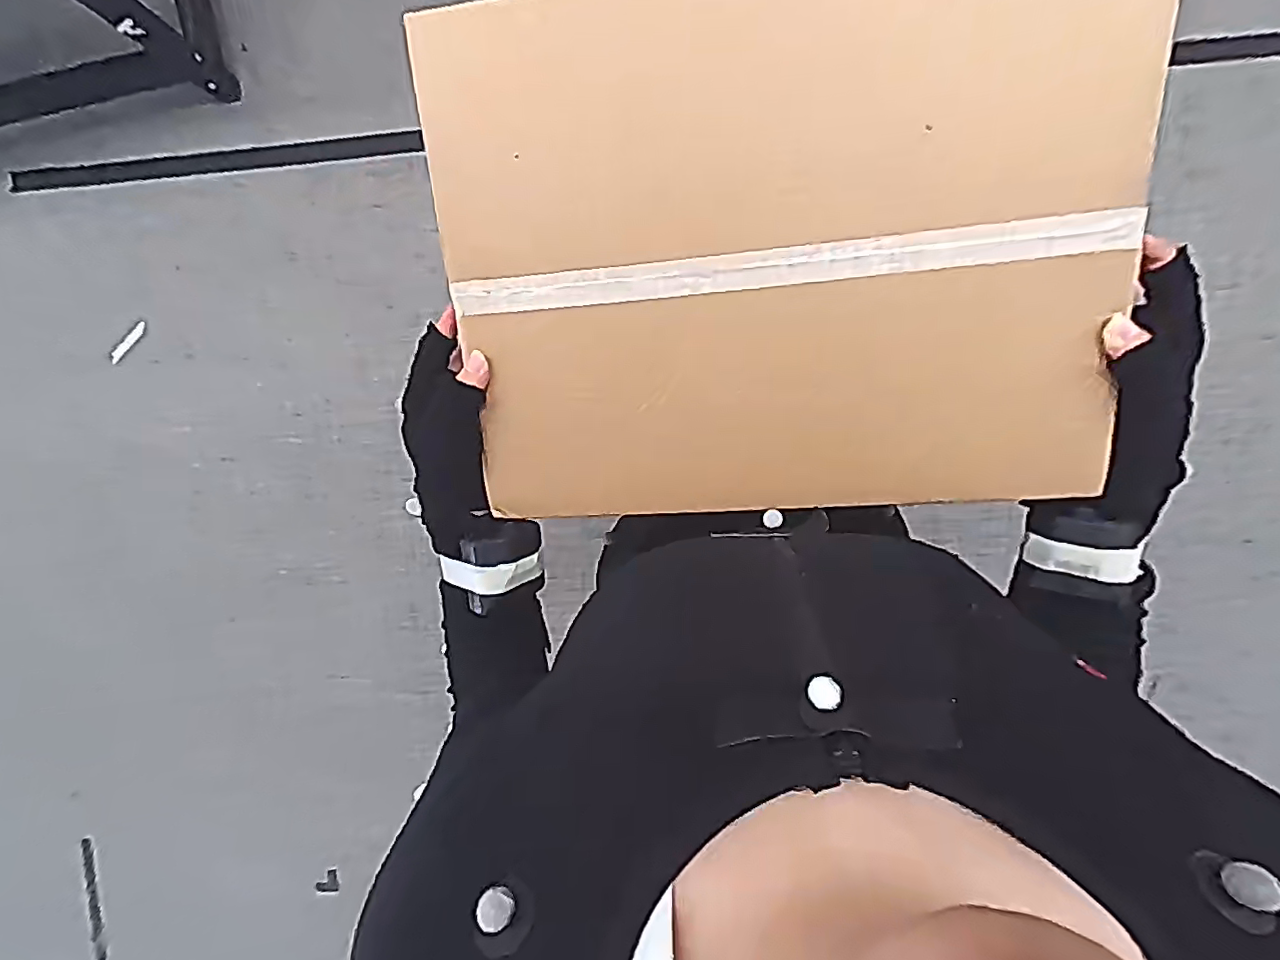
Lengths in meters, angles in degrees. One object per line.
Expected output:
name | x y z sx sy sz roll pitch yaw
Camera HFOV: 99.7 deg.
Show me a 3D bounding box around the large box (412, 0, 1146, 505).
large box | 0.092 -0.184 0.475 0.408 0.320 0.320 -3 106 8
